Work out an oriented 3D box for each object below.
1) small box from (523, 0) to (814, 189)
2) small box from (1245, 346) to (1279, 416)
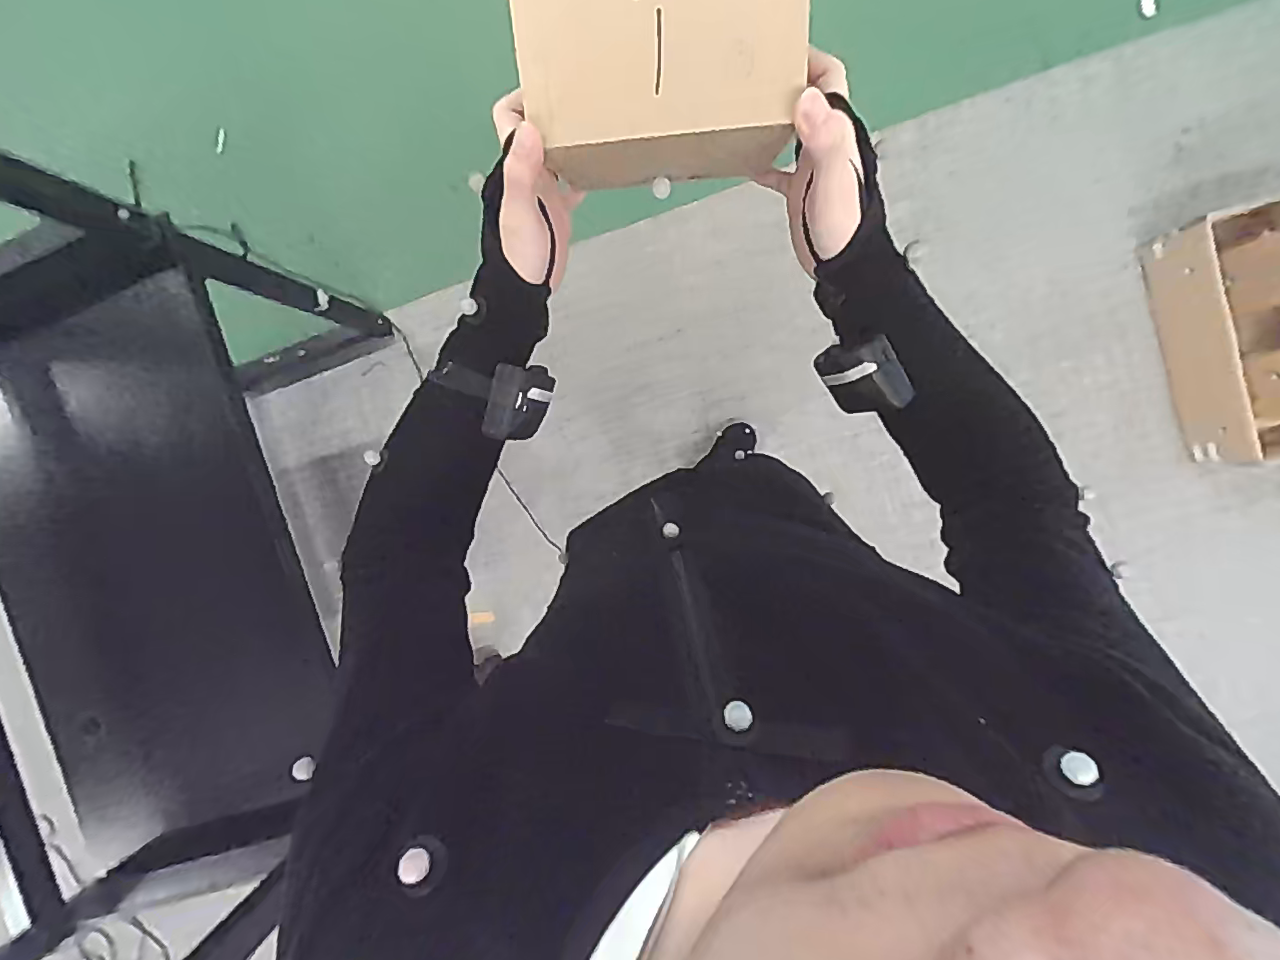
[{"bbox_3d":[0.019,-0.313,0.370,0.168,0.176,0.179,-1,111,5],"label":"small box"},{"bbox_3d":[1.640,-0.257,1.310,0.179,0.176,0.168,-14,91,7],"label":"small box"}]
